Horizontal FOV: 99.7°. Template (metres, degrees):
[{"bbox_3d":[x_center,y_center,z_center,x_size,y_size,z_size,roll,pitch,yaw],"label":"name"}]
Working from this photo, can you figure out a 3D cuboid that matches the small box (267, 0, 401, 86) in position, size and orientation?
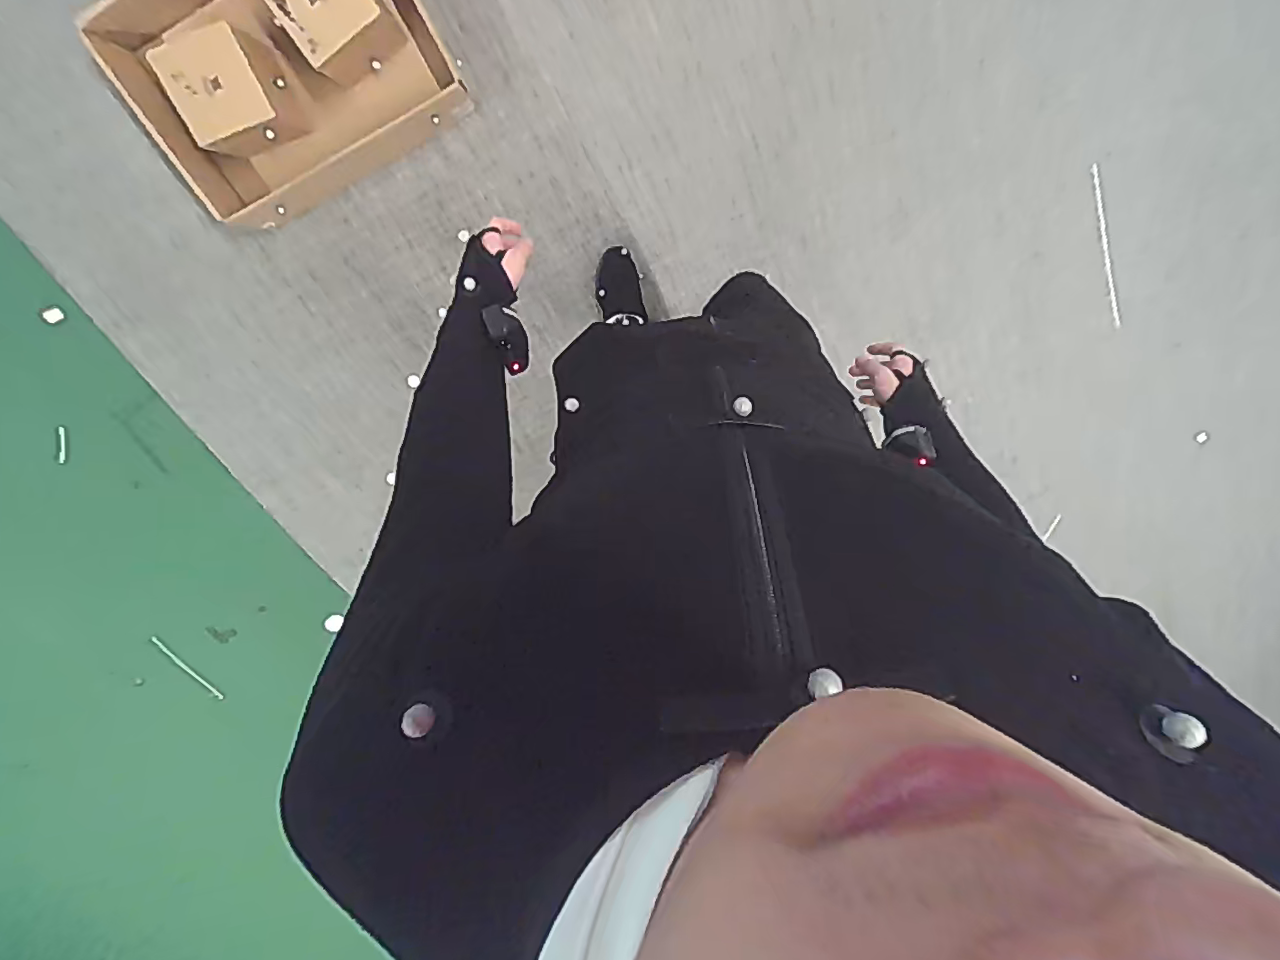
[{"bbox_3d":[-0.610,-0.941,1.085,0.179,0.176,0.168,-30,113,9],"label":"small box"}]
